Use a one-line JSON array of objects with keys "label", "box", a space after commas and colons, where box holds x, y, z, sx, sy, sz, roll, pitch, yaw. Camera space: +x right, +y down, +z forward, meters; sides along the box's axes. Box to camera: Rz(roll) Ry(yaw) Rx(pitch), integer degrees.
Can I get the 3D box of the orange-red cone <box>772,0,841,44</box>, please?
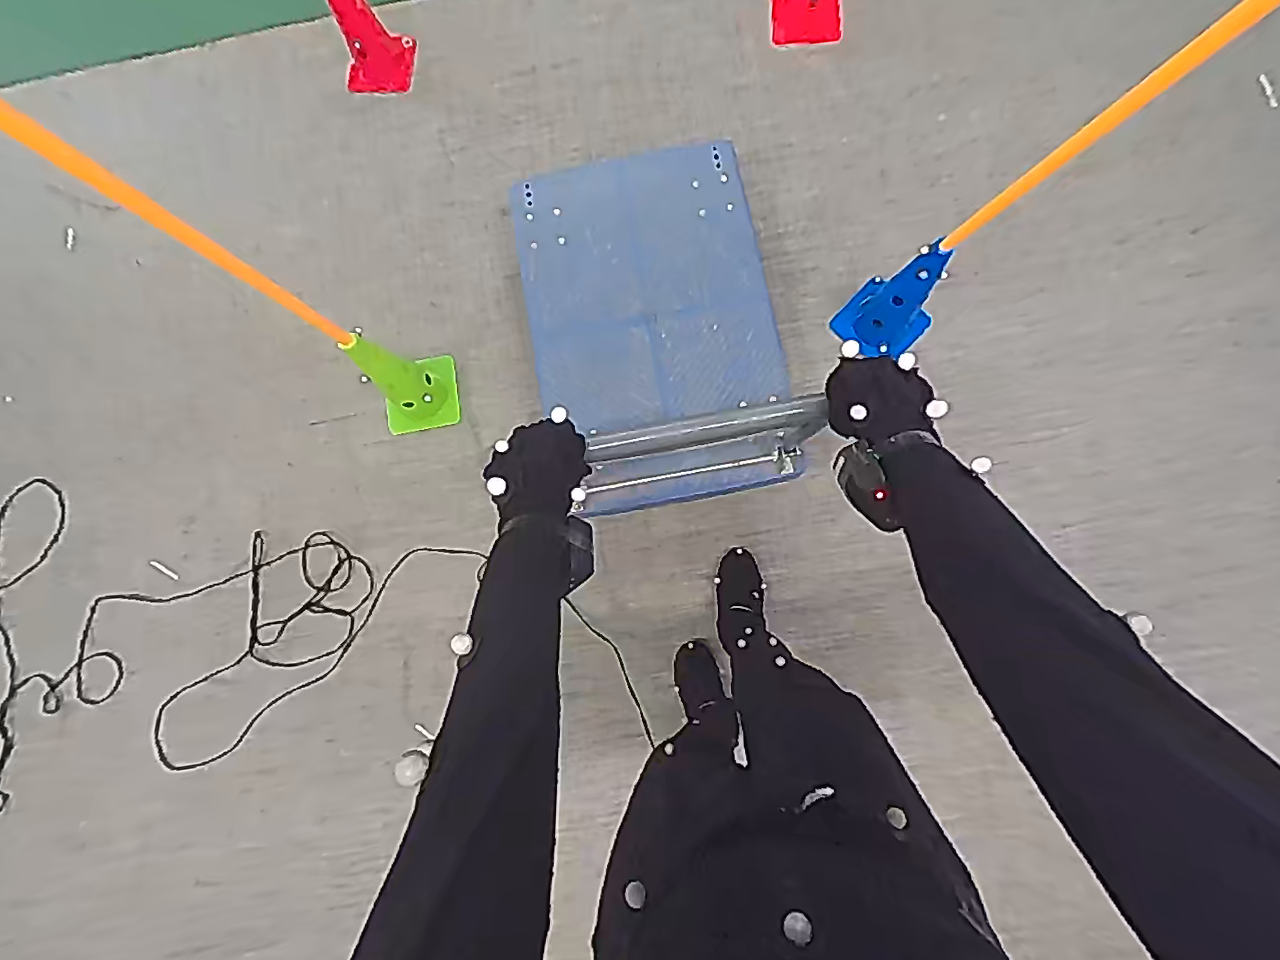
[{"label": "orange-red cone", "box": [0.475, -1.395, 1.421, 0.198, 0.360, 0.199, 1, 82, 5]}]
